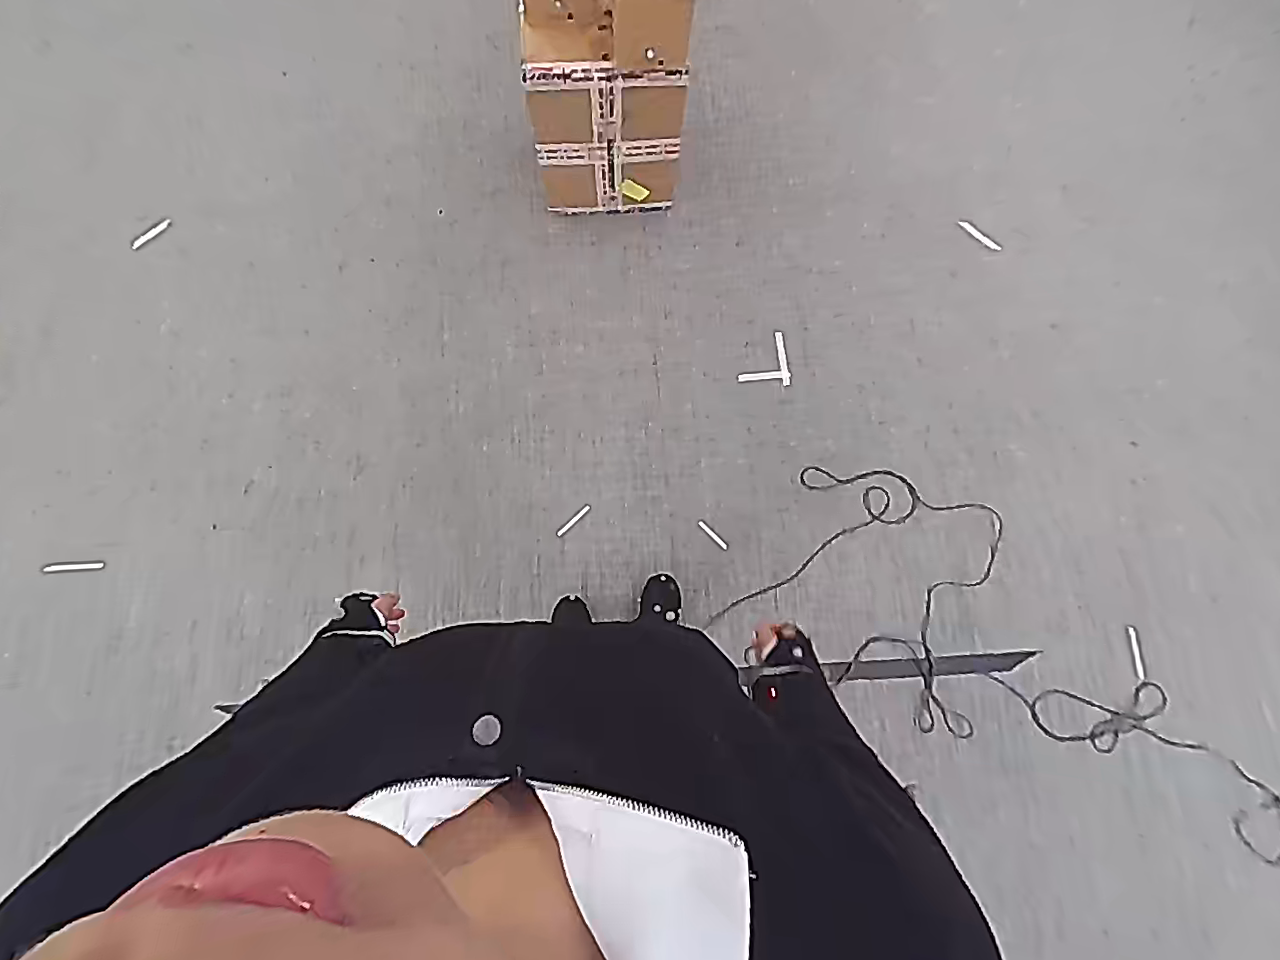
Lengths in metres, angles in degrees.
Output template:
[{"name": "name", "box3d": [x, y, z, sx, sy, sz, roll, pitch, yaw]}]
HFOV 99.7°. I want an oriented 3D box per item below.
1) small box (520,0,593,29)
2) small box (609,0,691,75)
[{"name": "small box", "box3d": [-0.195, -1.167, 1.213, 0.168, 0.176, 0.179, -3, 81, -1]}, {"name": "small box", "box3d": [0.017, -1.049, 1.201, 0.168, 0.176, 0.179, -3, 81, -3]}]
